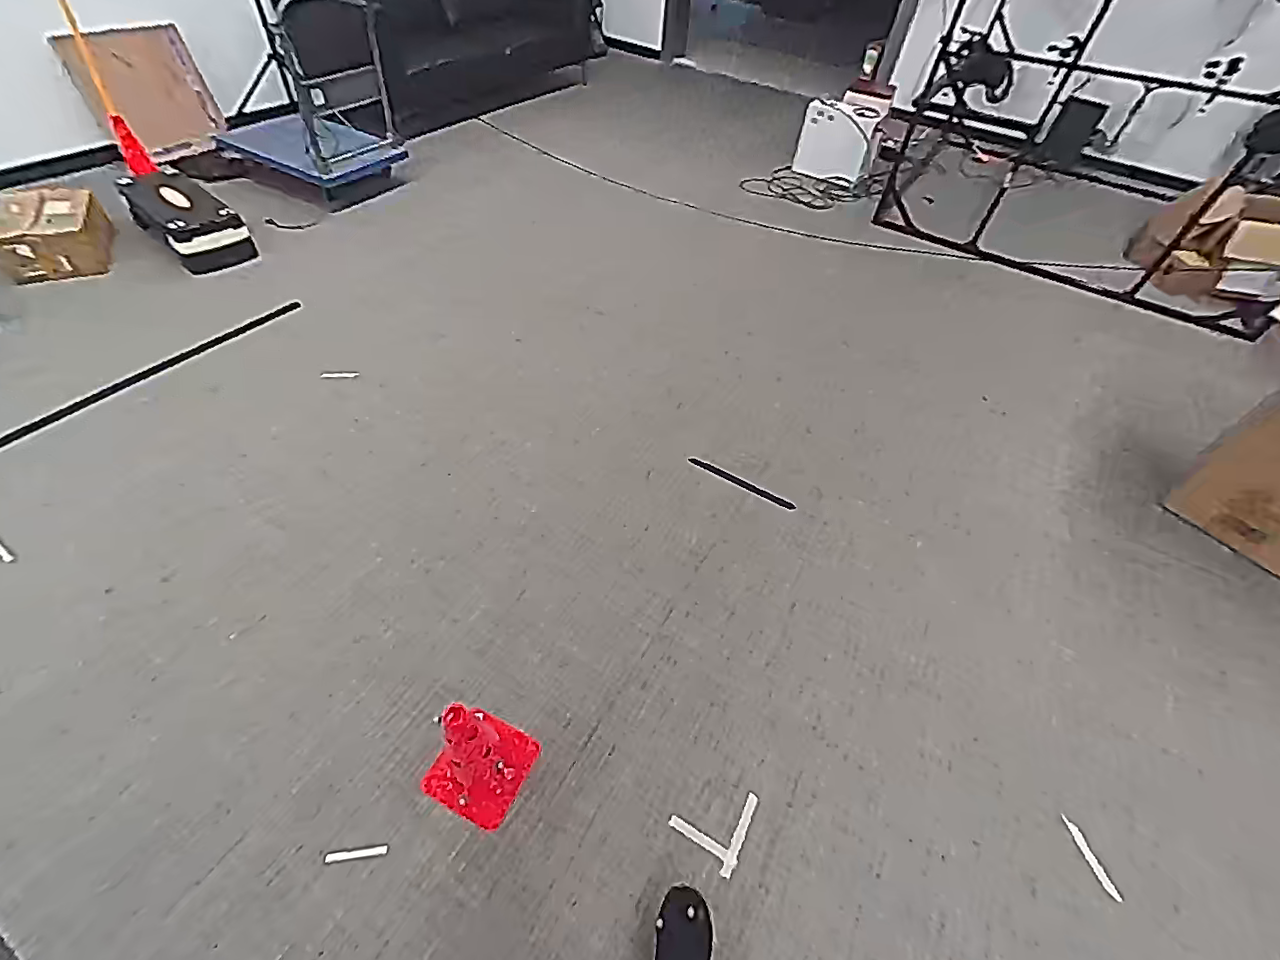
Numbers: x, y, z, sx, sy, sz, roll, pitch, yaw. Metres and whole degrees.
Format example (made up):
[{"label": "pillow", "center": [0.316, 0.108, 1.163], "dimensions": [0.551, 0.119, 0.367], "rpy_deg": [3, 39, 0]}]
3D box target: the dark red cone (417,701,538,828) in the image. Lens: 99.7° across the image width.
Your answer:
[{"label": "dark red cone", "center": [-0.335, 0.507, 1.048], "dimensions": [0.202, 0.394, 0.201], "rpy_deg": [22, 52, 13]}]
